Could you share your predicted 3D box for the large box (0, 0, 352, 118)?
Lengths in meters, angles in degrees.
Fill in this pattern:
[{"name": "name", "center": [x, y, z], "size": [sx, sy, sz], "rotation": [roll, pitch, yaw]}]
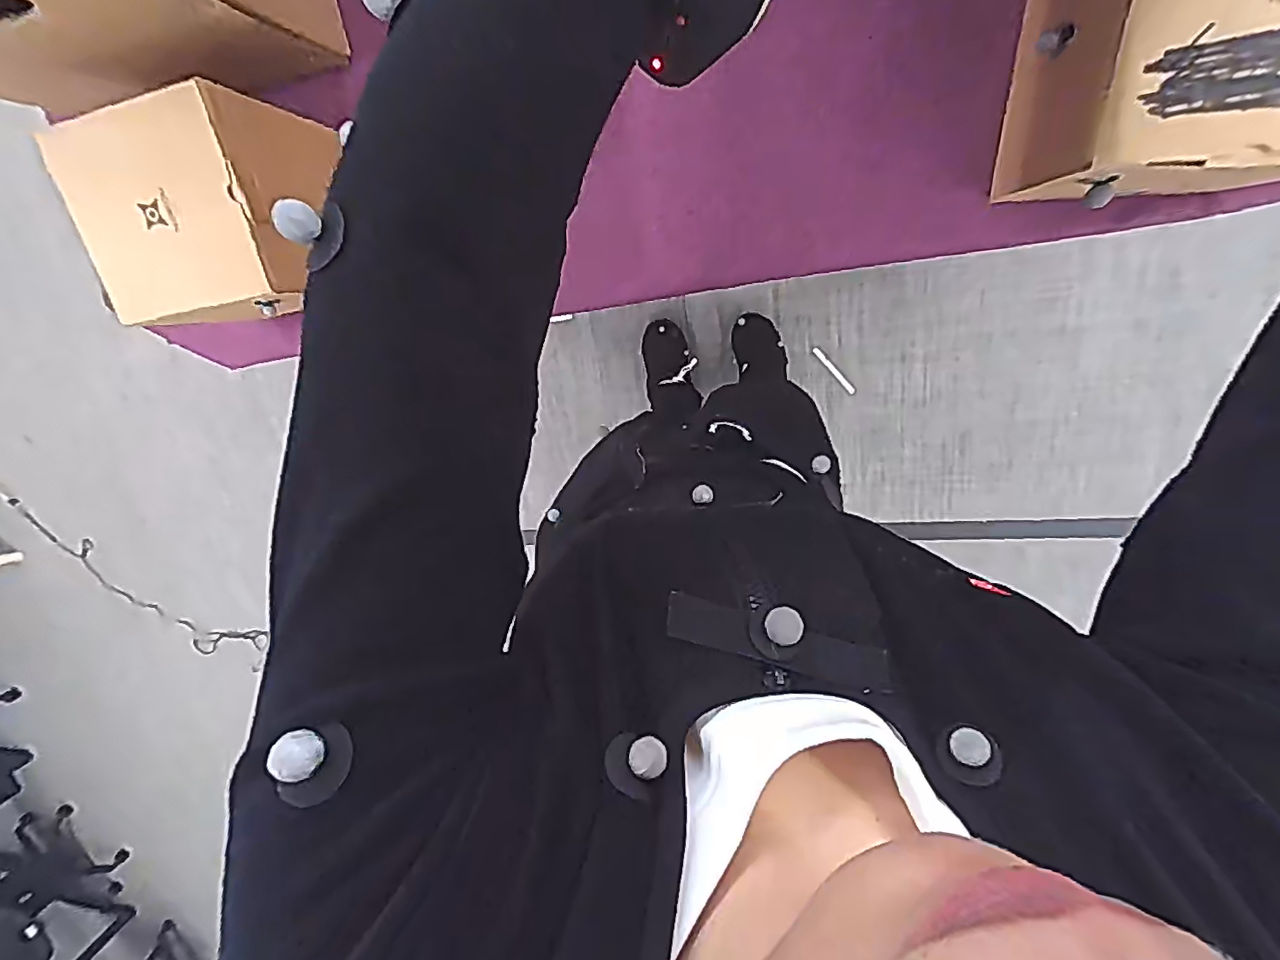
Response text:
[{"name": "large box", "center": [-0.493, -0.547, 0.382], "size": [0.320, 0.320, 0.408], "rotation": [-4, 113, 13]}]
